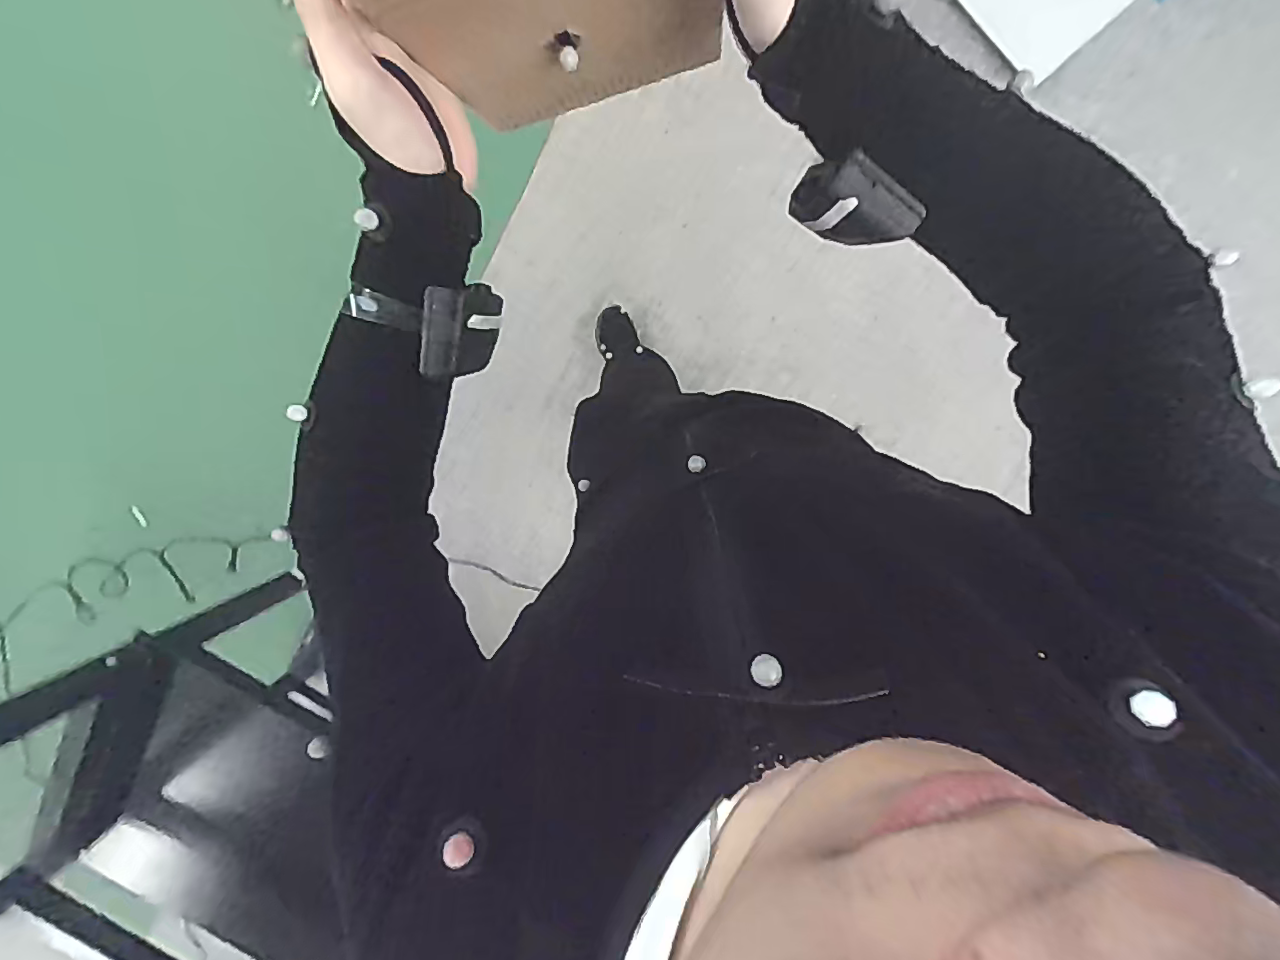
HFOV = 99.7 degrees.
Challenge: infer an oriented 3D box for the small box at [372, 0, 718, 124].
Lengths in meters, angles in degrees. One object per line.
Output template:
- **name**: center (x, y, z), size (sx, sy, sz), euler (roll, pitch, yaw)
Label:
- **small box**: center (-0.052, -0.338, 0.304), size (0.179, 0.176, 0.168), euler (-10, 104, 11)
